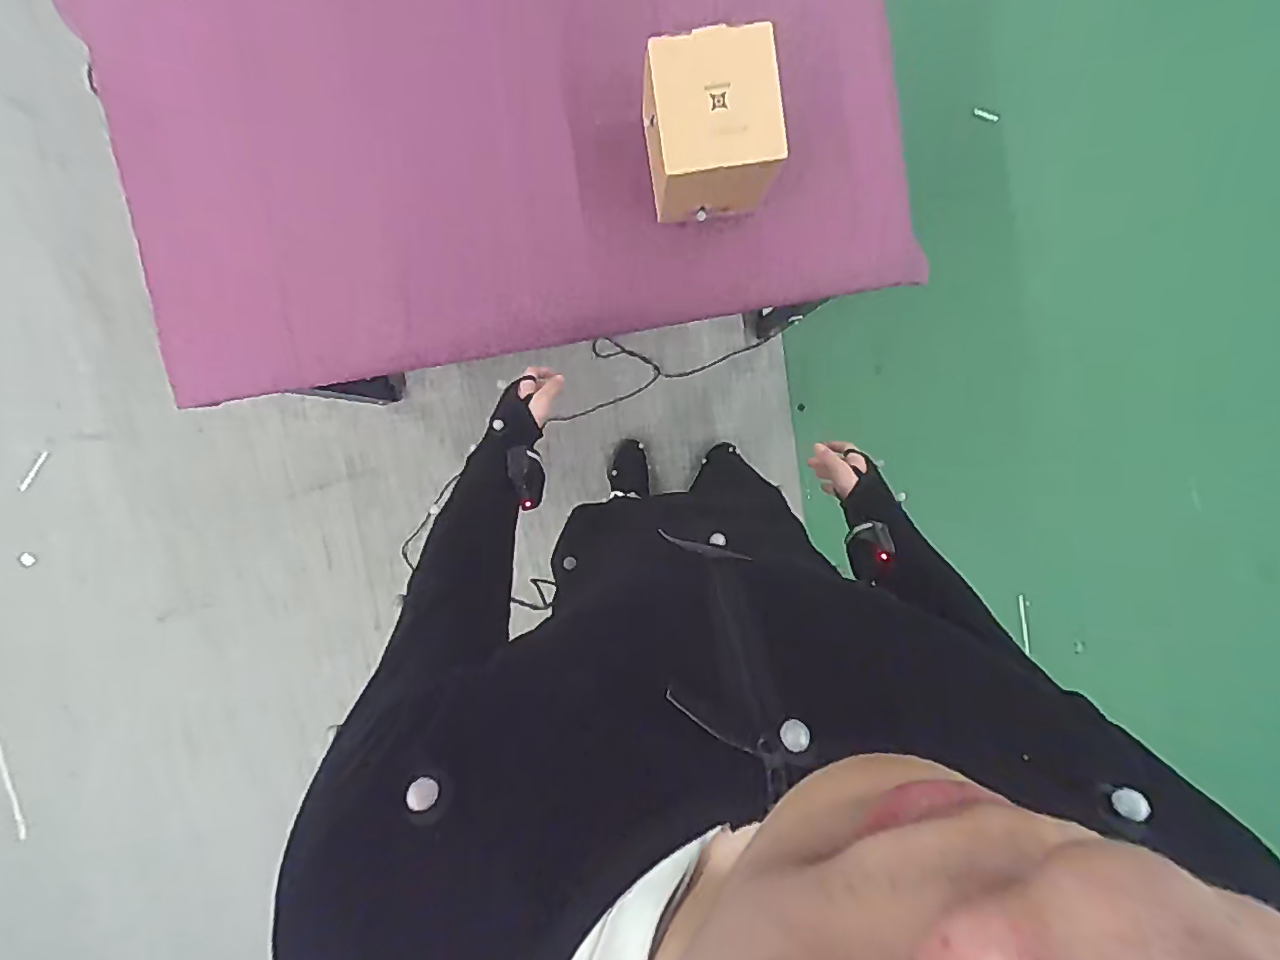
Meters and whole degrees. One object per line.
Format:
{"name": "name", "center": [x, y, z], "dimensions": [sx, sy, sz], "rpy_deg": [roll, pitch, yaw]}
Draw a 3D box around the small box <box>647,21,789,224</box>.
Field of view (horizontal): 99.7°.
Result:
{"name": "small box", "center": [0.102, -0.498, 0.776], "dimensions": [0.168, 0.176, 0.179], "rpy_deg": [-8, 93, 0]}
